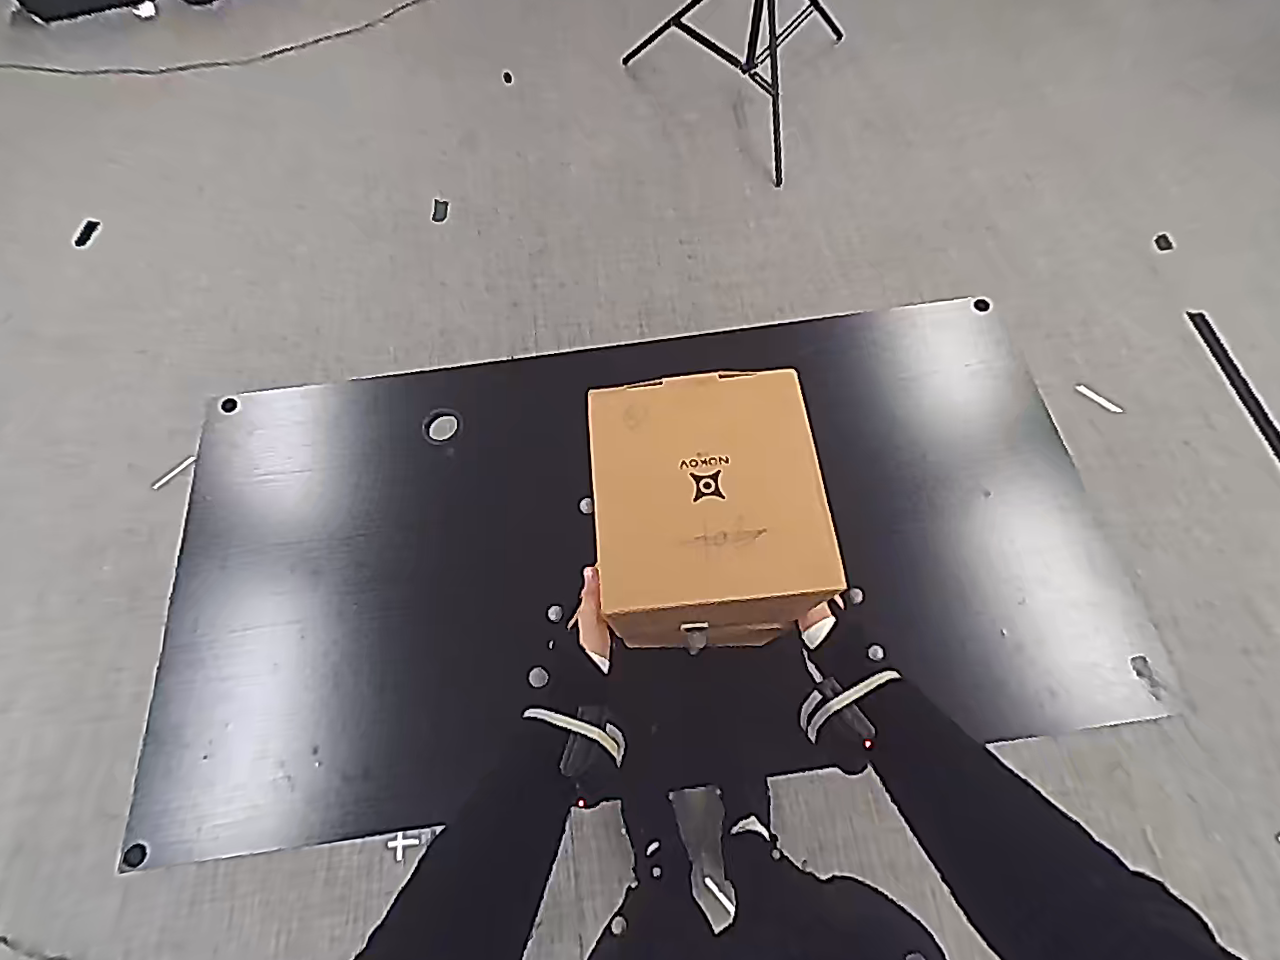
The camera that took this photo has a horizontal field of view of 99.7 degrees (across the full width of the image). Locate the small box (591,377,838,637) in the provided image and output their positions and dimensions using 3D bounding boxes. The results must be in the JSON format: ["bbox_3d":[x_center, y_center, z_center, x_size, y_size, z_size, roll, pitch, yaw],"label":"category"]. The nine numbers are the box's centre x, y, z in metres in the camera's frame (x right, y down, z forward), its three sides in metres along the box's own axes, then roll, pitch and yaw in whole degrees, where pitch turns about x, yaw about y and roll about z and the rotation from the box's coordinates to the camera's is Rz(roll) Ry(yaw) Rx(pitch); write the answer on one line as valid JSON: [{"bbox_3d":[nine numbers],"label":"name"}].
[{"bbox_3d":[0.051,0.034,0.474,0.168,0.176,0.179,-6,69,1],"label":"small box"}]
